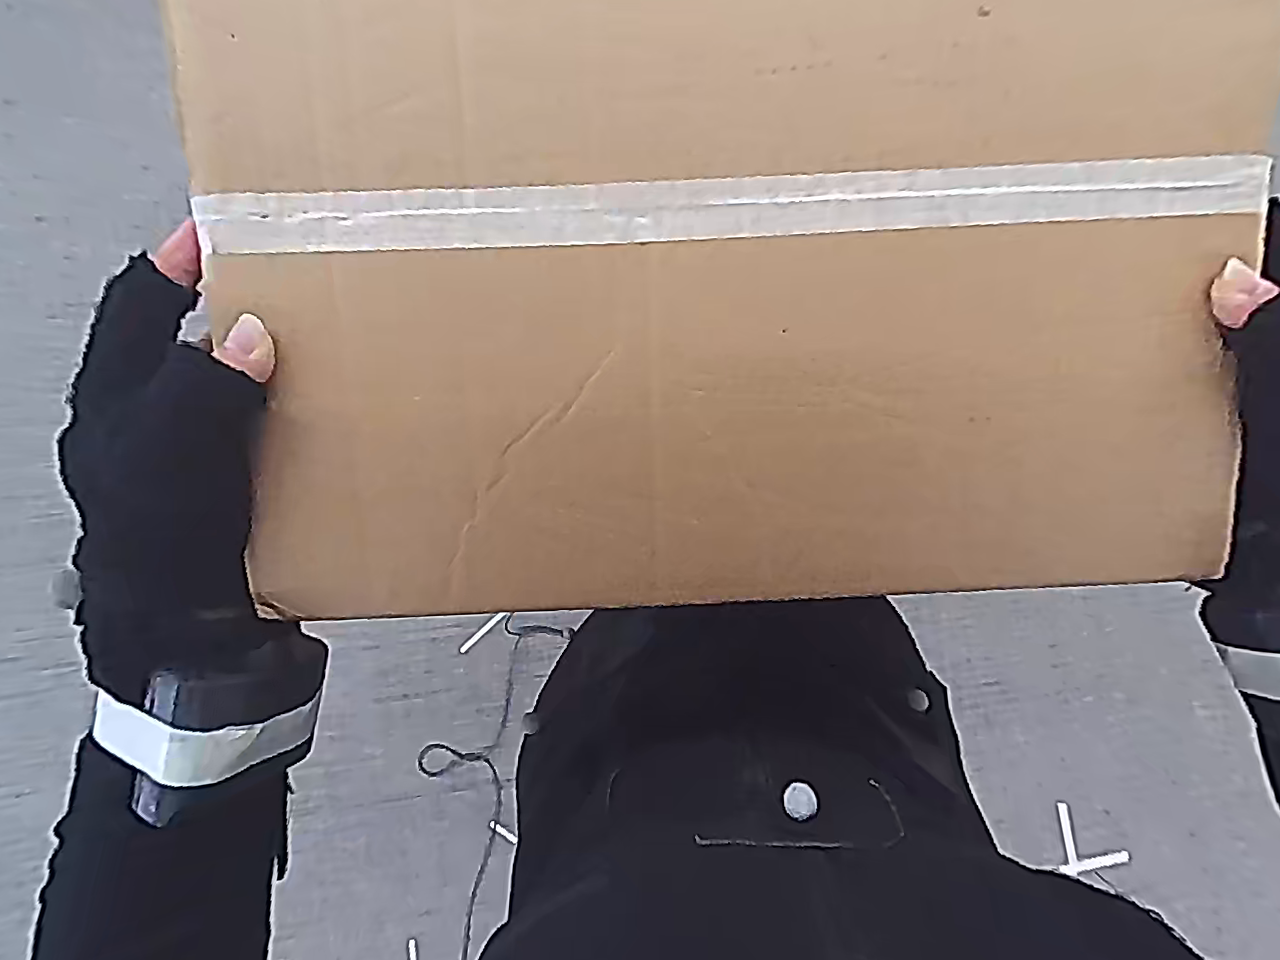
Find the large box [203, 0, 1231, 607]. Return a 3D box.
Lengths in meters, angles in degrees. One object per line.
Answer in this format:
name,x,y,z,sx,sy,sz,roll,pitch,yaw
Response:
large box,0.034,-0.126,0.369,0.408,0.320,0.320,-2,97,-1
